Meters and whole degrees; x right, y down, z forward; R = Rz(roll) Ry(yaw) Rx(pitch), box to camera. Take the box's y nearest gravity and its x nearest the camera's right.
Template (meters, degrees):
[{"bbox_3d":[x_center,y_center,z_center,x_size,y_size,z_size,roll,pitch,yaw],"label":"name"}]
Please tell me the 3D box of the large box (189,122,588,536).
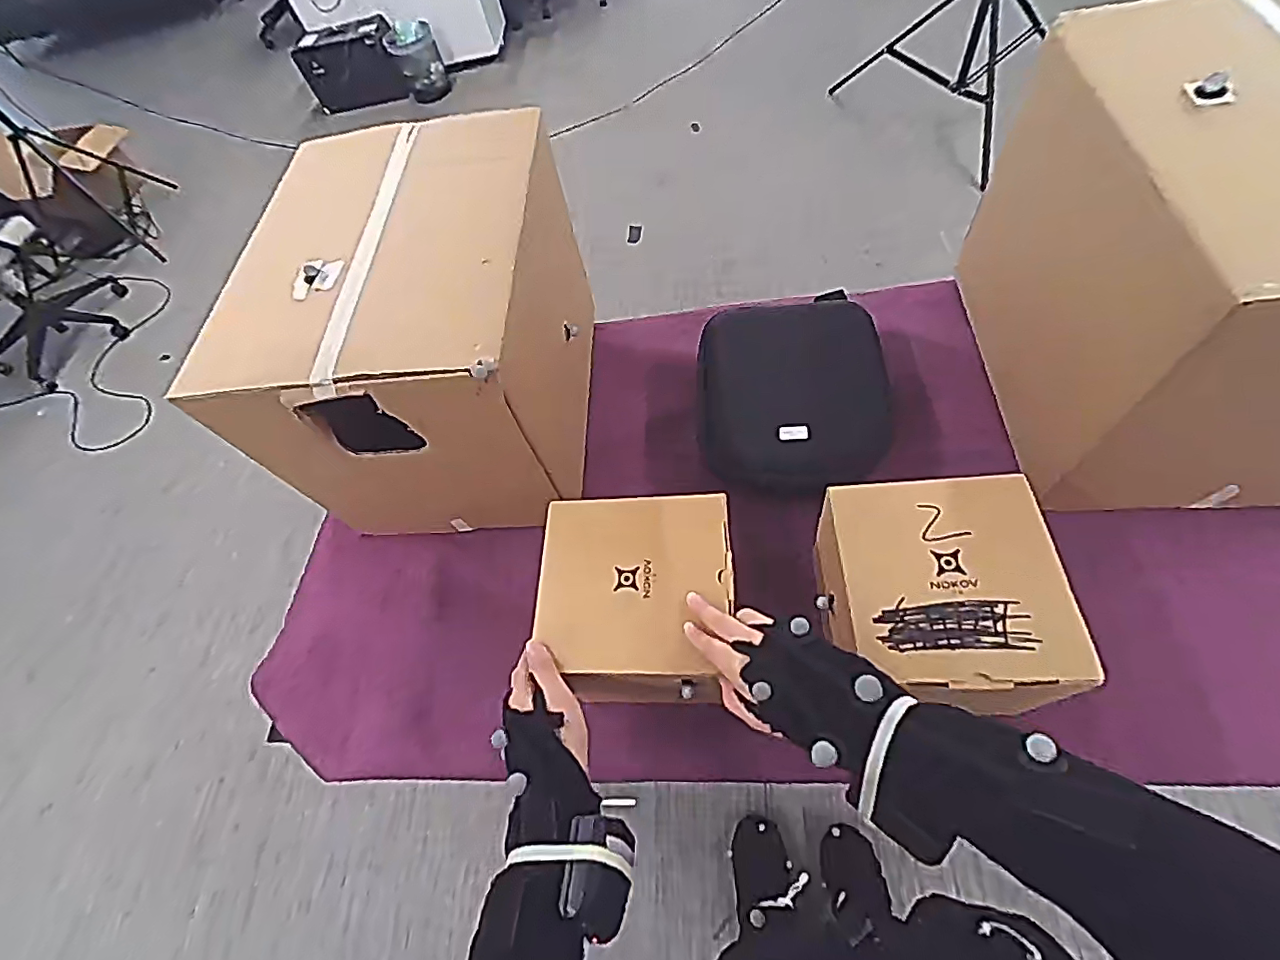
[{"bbox_3d":[-0.249,-0.175,0.699,0.320,0.320,0.408,-5,62,7],"label":"large box"}]
